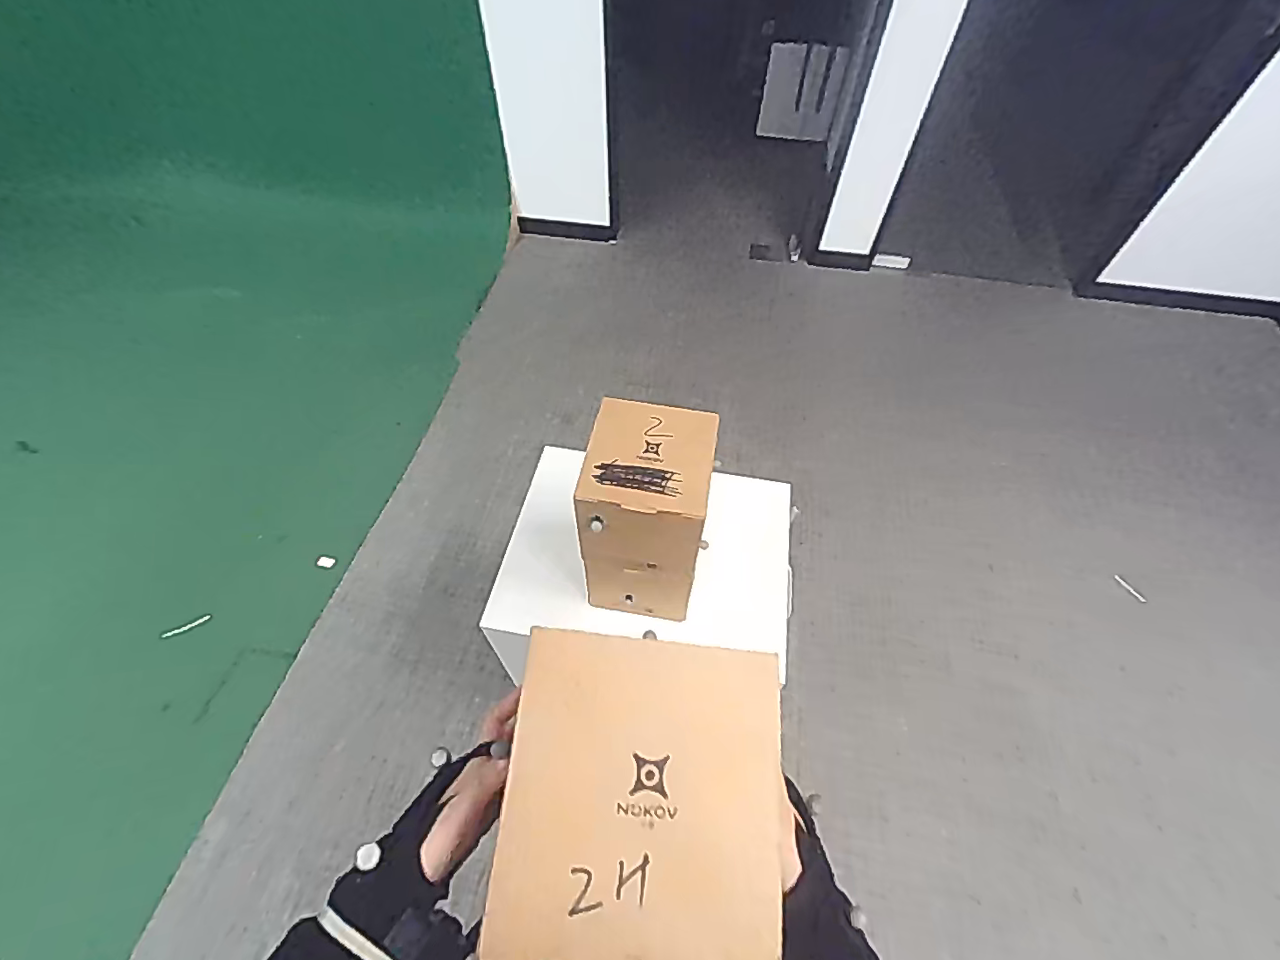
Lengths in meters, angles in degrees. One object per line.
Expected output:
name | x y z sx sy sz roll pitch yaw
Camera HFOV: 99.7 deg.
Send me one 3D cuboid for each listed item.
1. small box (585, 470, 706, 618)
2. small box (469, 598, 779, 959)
small box | 0.010 0.111 0.892 0.168 0.176 0.179 9 53 5
small box | -0.010 0.196 0.386 0.168 0.176 0.179 8 66 -4
